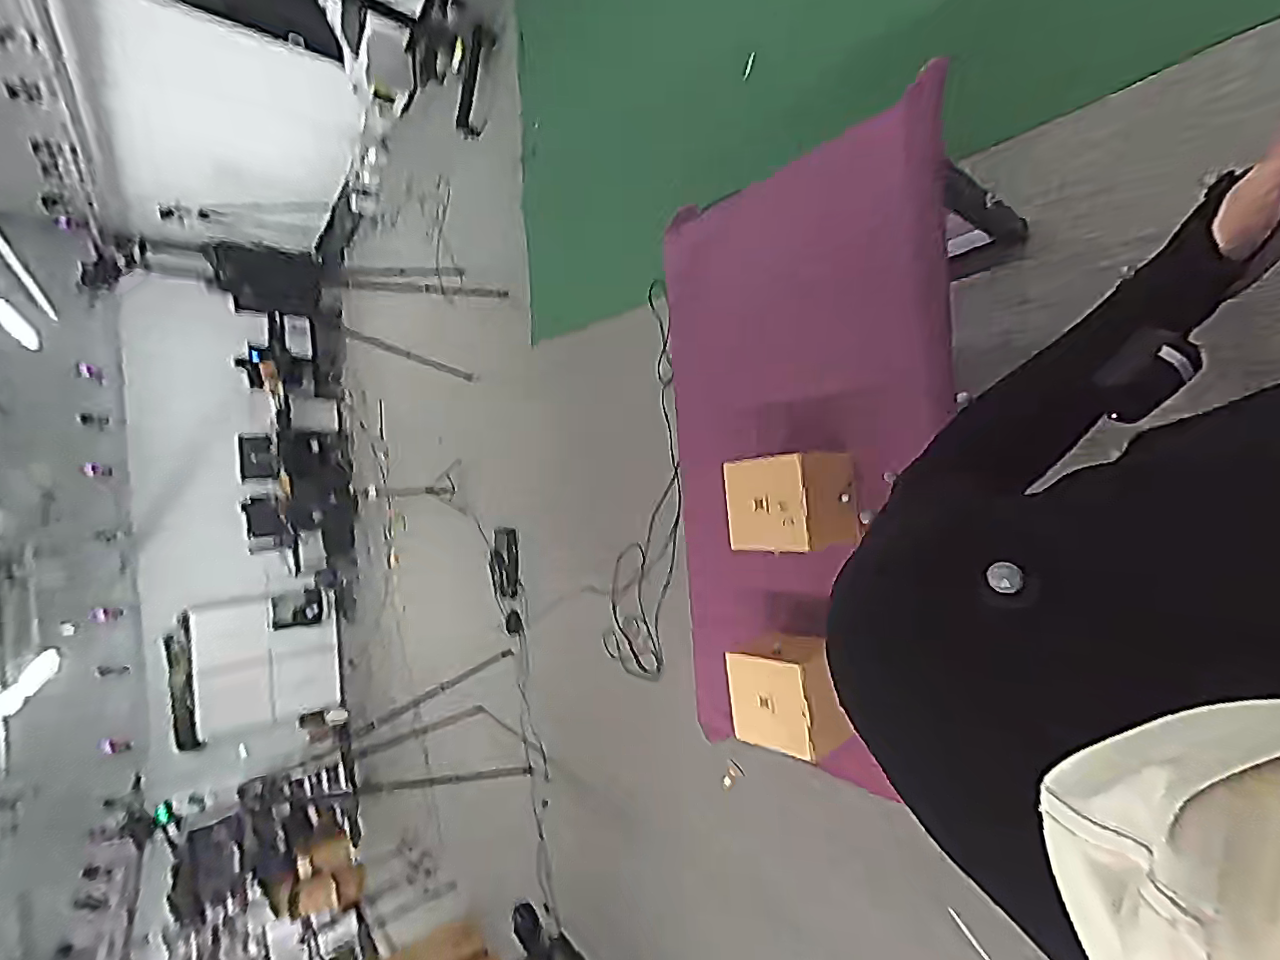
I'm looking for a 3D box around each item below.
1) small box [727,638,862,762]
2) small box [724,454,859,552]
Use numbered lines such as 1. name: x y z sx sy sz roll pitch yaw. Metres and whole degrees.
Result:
1. small box: 0.293 0.405 1.032 0.179 0.176 0.168 -12 83 50
2. small box: 0.283 0.041 1.015 0.179 0.176 0.168 -7 88 51
